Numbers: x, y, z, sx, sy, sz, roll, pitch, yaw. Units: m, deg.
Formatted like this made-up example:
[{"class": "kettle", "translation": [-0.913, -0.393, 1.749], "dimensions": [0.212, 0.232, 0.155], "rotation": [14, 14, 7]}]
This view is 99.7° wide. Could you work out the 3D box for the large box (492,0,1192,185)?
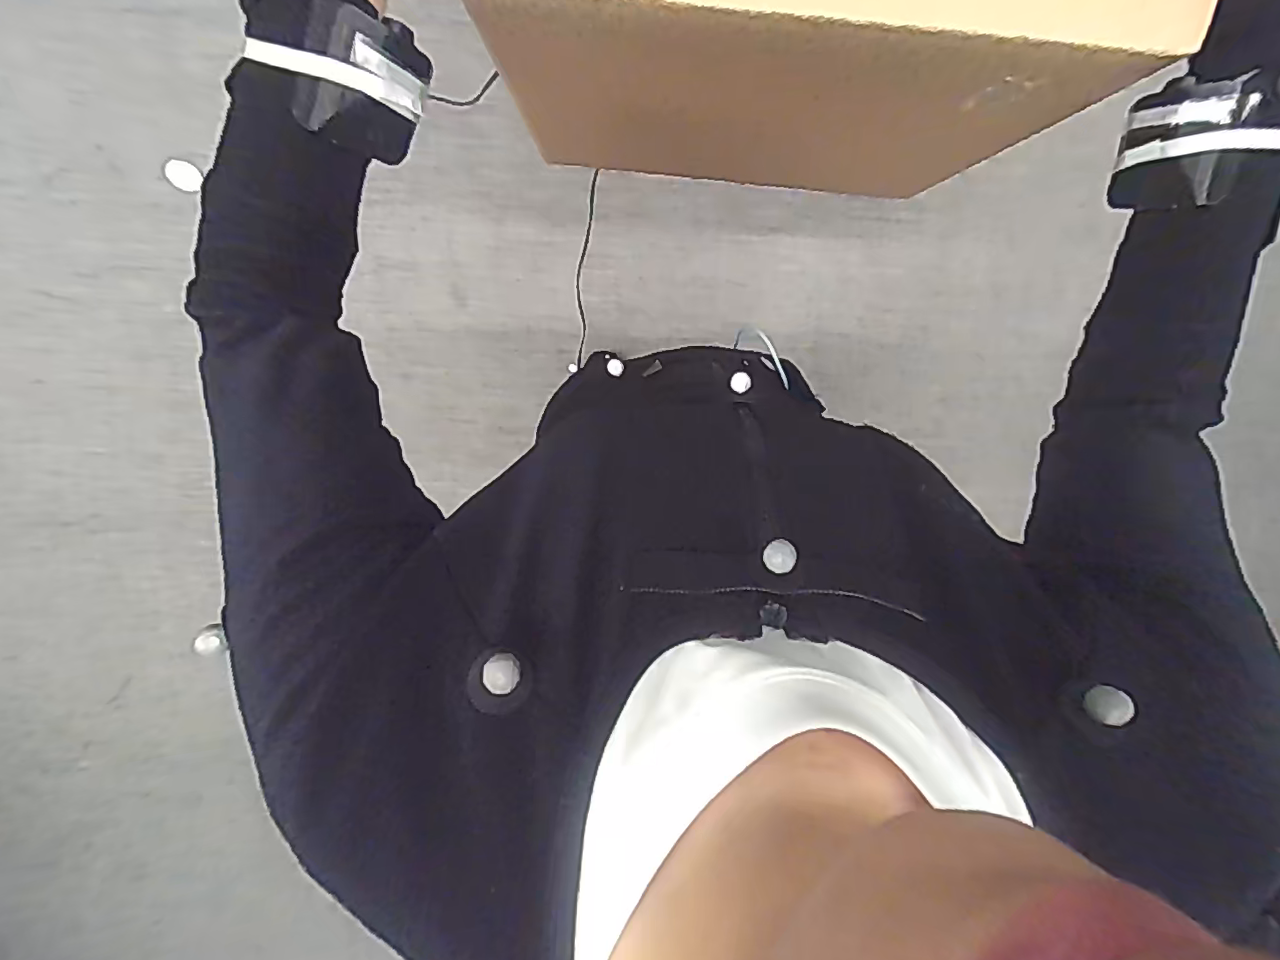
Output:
[{"class": "large box", "translation": [0.113, -0.441, 0.404], "dimensions": [0.408, 0.320, 0.320], "rotation": [4, 105, -3]}]
